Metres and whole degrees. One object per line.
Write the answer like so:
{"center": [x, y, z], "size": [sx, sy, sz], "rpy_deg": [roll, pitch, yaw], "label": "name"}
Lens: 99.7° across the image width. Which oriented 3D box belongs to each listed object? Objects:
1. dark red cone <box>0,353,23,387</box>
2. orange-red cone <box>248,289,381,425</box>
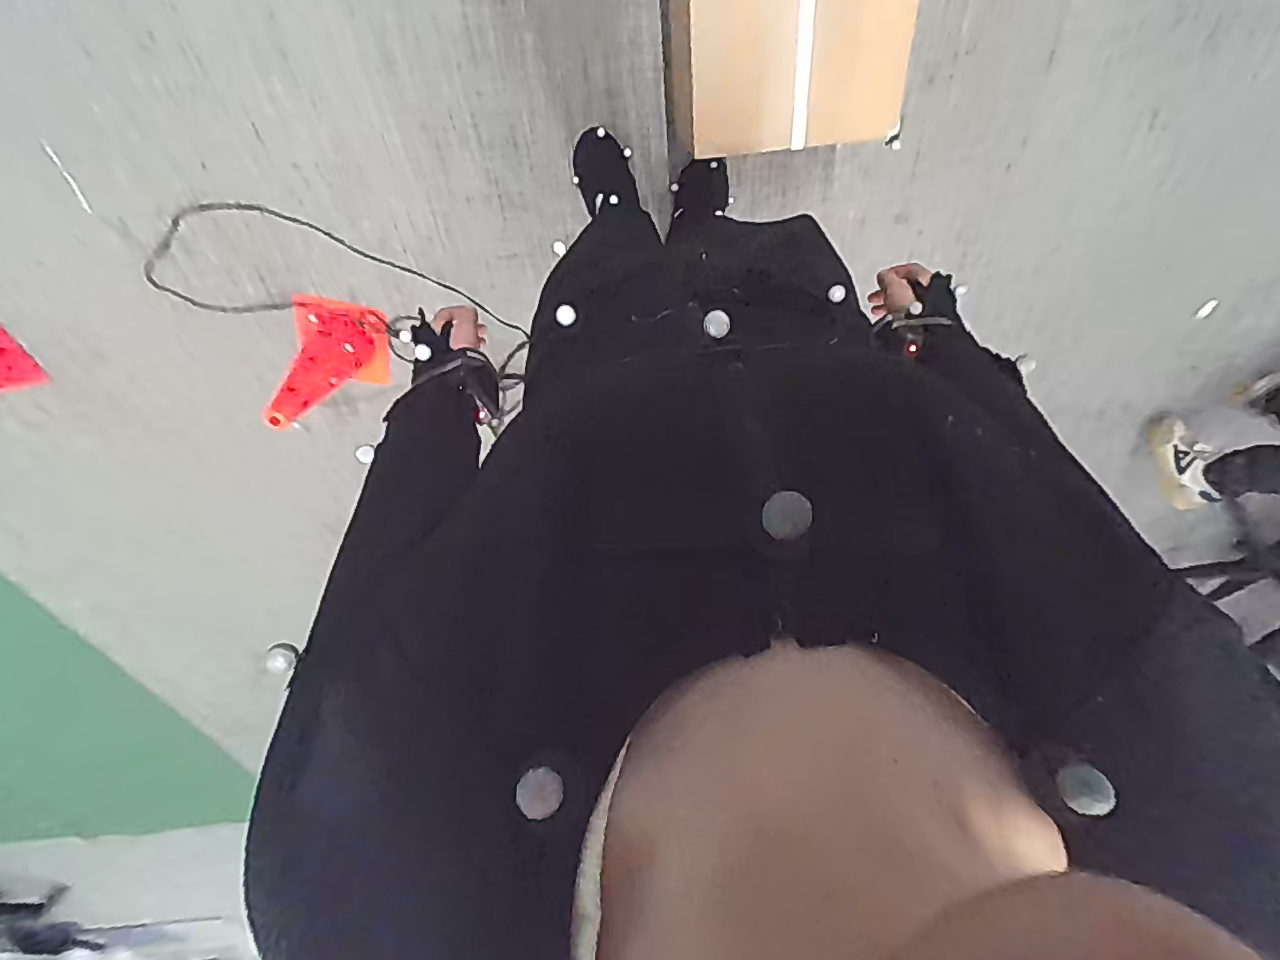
{"center": [-1.542, -0.188, 1.088], "size": [0.201, 0.394, 0.202], "rpy_deg": [-9, 128, 7], "label": "dark red cone"}
{"center": [-0.708, -0.225, 1.136], "size": [0.198, 0.360, 0.199], "rpy_deg": [12, 128, -11], "label": "orange-red cone"}
